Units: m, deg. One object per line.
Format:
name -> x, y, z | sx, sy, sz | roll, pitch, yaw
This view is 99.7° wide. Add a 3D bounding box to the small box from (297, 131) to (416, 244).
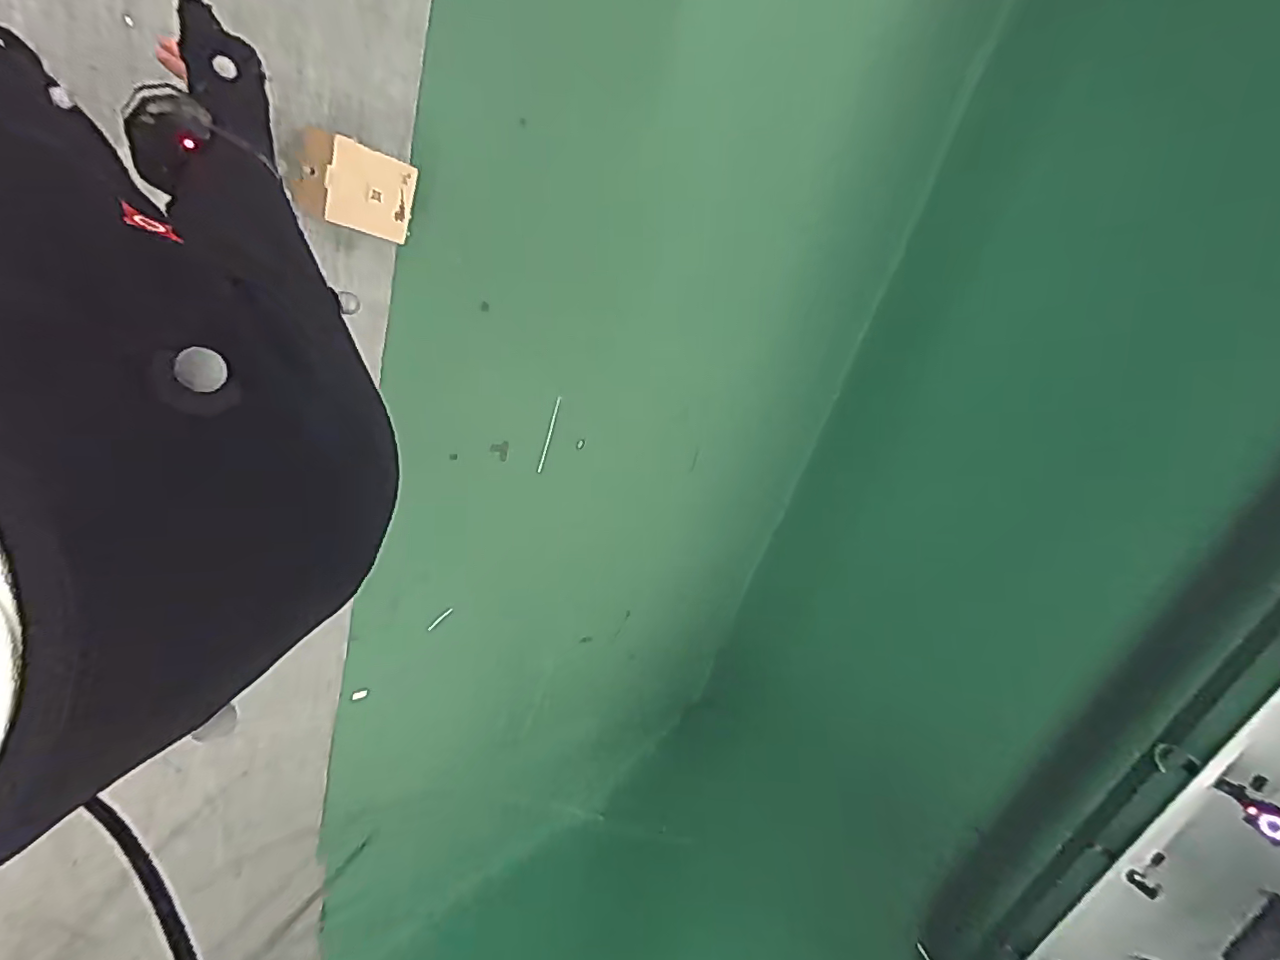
small box -> -0.629, -0.643, 1.190 | 0.179, 0.176, 0.168 | -1, 117, -50
